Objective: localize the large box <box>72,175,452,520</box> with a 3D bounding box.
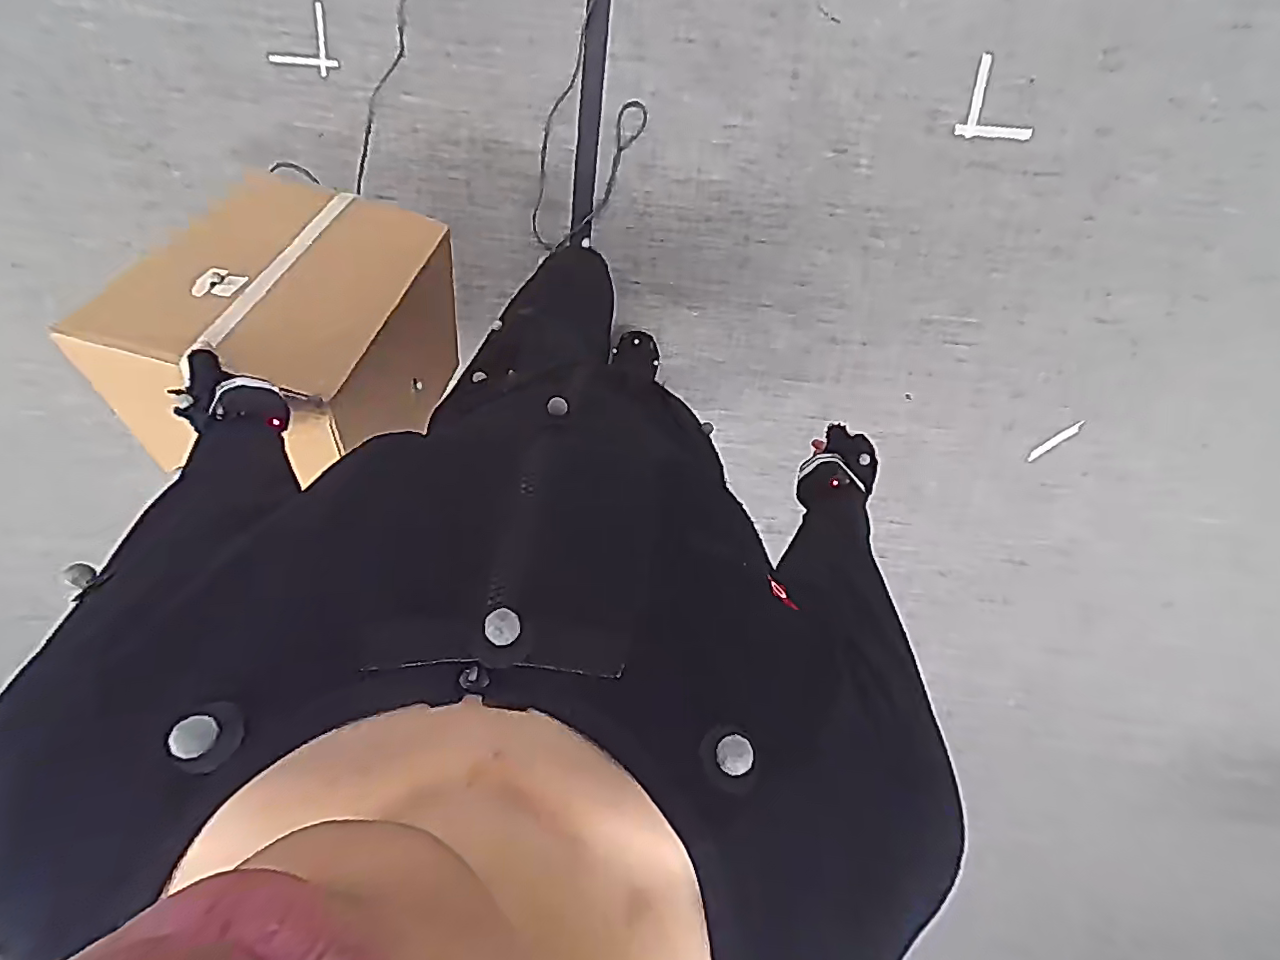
[{"bbox_3d":[-0.525,-0.206,0.878,0.320,0.408,0.320,14,145,-5],"label":"large box"}]
